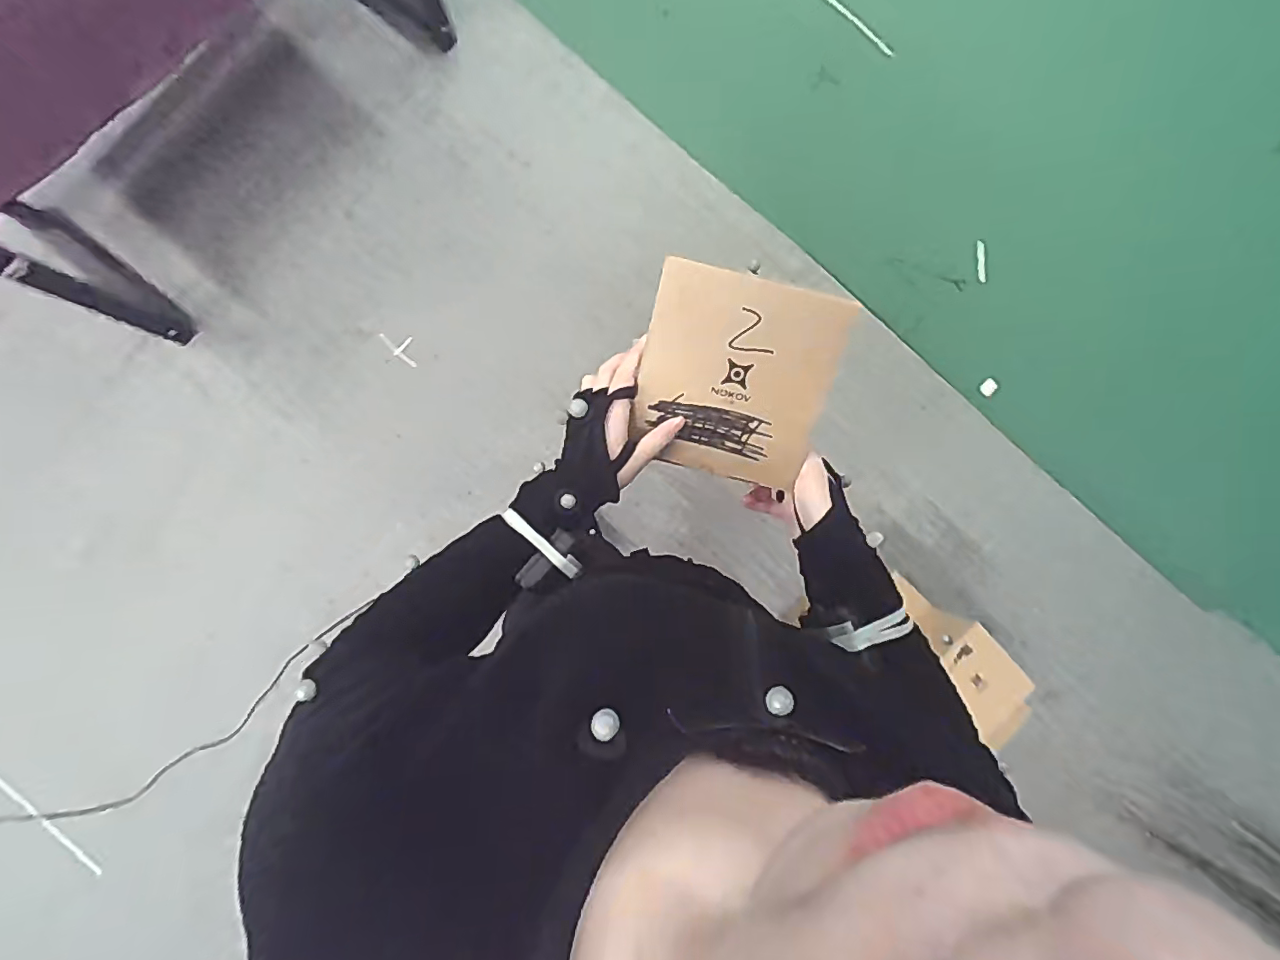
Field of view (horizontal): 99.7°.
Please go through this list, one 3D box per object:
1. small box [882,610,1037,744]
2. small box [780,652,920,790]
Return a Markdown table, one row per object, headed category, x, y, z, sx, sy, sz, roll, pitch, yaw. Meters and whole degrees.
| category | x | y | z | sx | sy | sz | roll | pitch | yaw |
| --- | --- | --- | --- | --- | --- | --- | --- | --- | --- |
| small box | 0.651 | 0.396 | 1.121 | 0.168 | 0.176 | 0.179 | -41 | 91 | -5 |
| small box | 0.416 | 0.476 | 1.107 | 0.168 | 0.176 | 0.179 | -40 | 90 | -2 |
